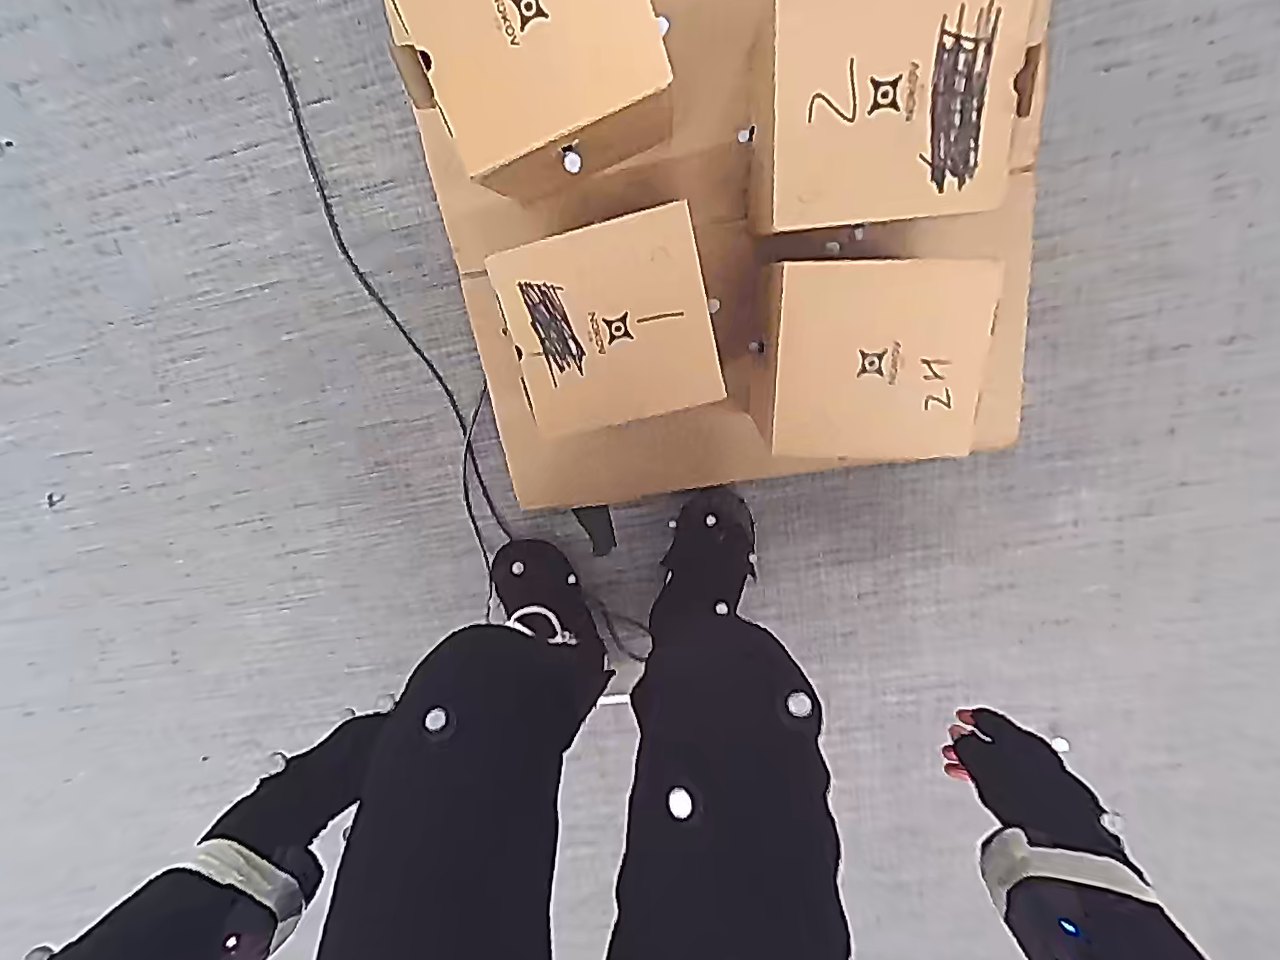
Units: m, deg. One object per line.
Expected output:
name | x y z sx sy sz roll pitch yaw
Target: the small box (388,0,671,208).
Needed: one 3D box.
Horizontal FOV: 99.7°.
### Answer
small box | -0.080 -0.361 0.472 0.179 0.176 0.168 -19 108 12
